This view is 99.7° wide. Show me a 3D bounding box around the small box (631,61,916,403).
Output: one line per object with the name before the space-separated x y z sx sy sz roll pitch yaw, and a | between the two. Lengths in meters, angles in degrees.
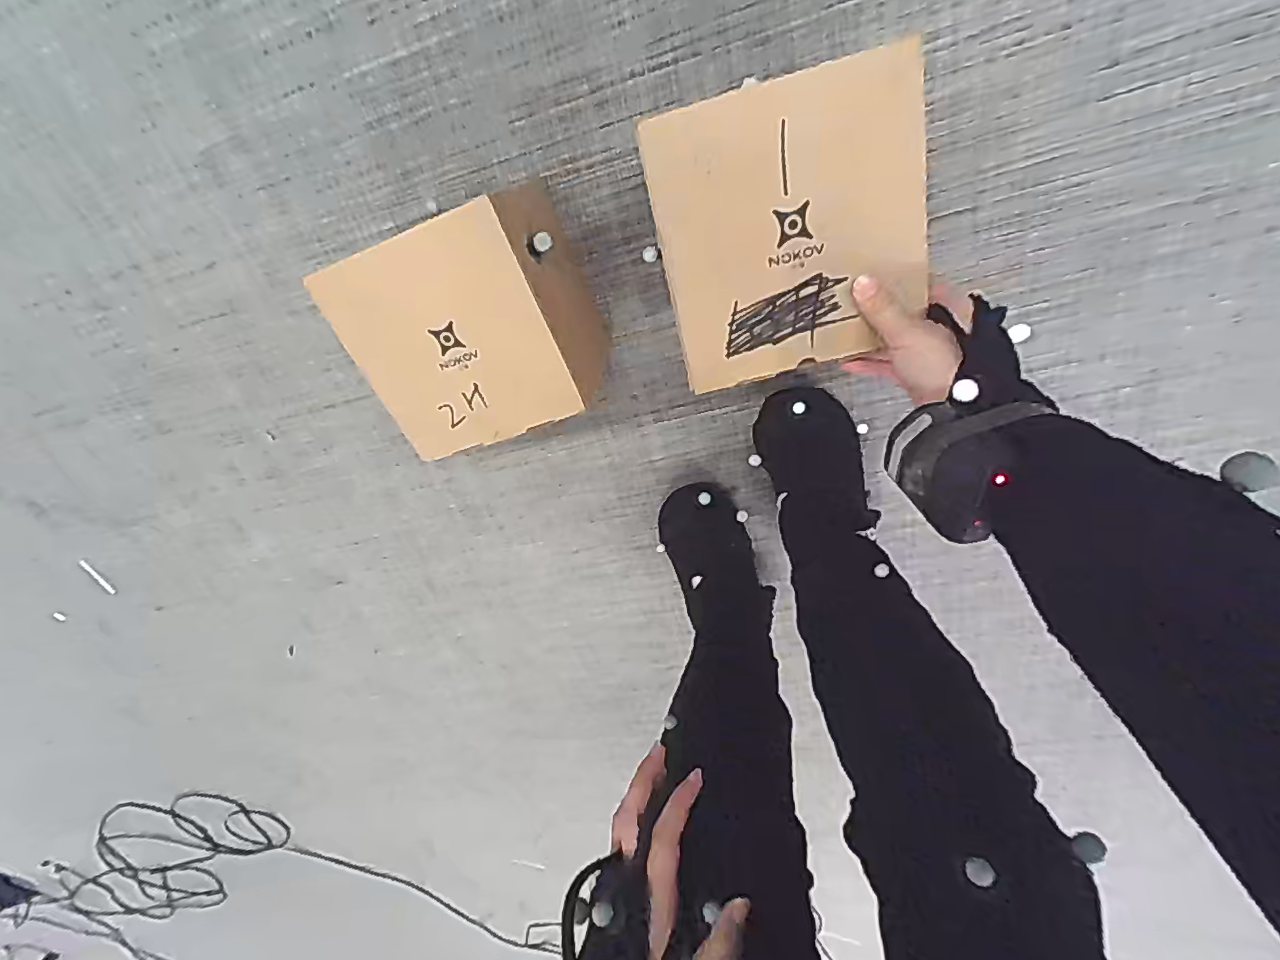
small box | 0.096 -0.181 0.423 0.168 0.176 0.179 -12 113 7

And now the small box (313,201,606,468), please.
small box | -0.144 -0.143 0.505 0.168 0.176 0.179 -16 120 15
